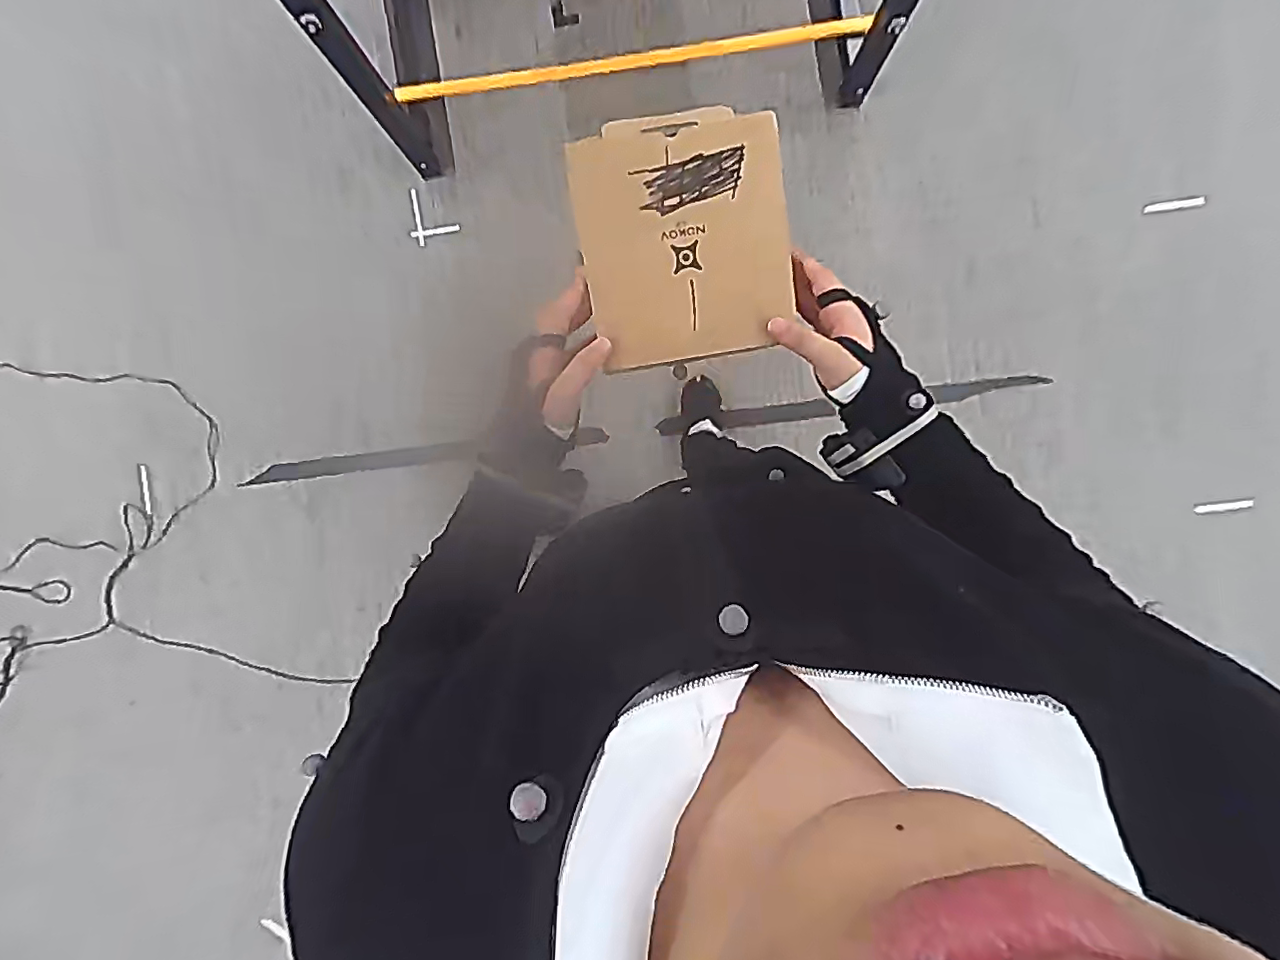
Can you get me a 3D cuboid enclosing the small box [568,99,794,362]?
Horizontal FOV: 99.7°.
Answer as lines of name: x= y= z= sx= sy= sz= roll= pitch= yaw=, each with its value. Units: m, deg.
small box: x=0.032 y=-0.213 z=0.510 sx=0.168 sy=0.176 sz=0.179 roll=-10 pitch=101 yaw=0
